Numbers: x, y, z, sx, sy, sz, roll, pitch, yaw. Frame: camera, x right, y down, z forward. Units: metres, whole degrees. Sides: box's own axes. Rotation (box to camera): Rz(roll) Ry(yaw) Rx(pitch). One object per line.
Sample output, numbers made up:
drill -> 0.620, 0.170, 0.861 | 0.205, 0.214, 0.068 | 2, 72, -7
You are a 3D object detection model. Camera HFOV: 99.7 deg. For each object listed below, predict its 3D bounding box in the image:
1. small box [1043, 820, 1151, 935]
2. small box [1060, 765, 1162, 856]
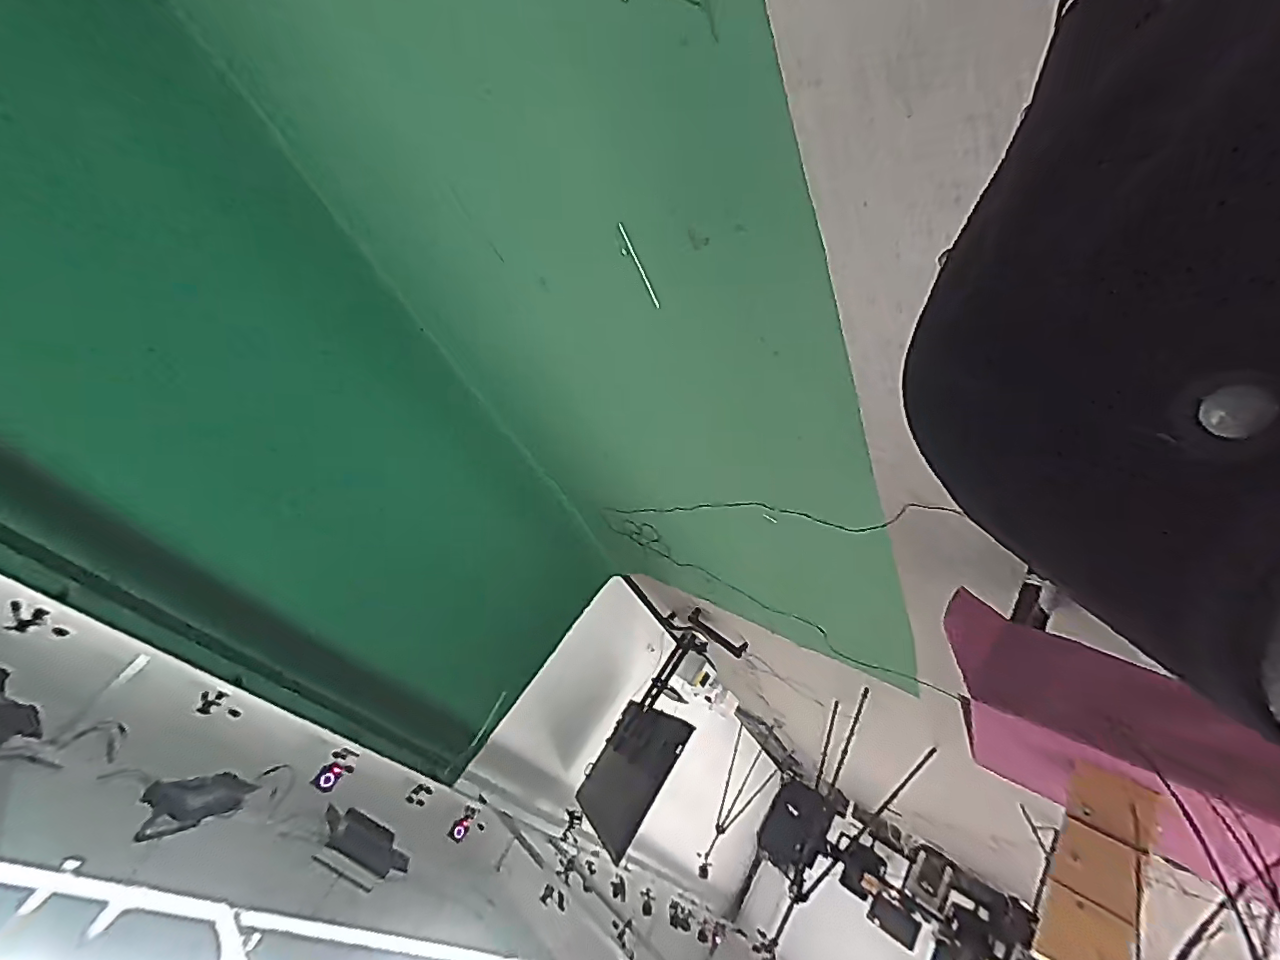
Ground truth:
small box -> 1.172, 1.011, 1.392 | 0.179, 0.176, 0.168 | 15, 149, 43
small box -> 1.271, 0.904, 1.466 | 0.179, 0.176, 0.168 | 14, 148, 45
